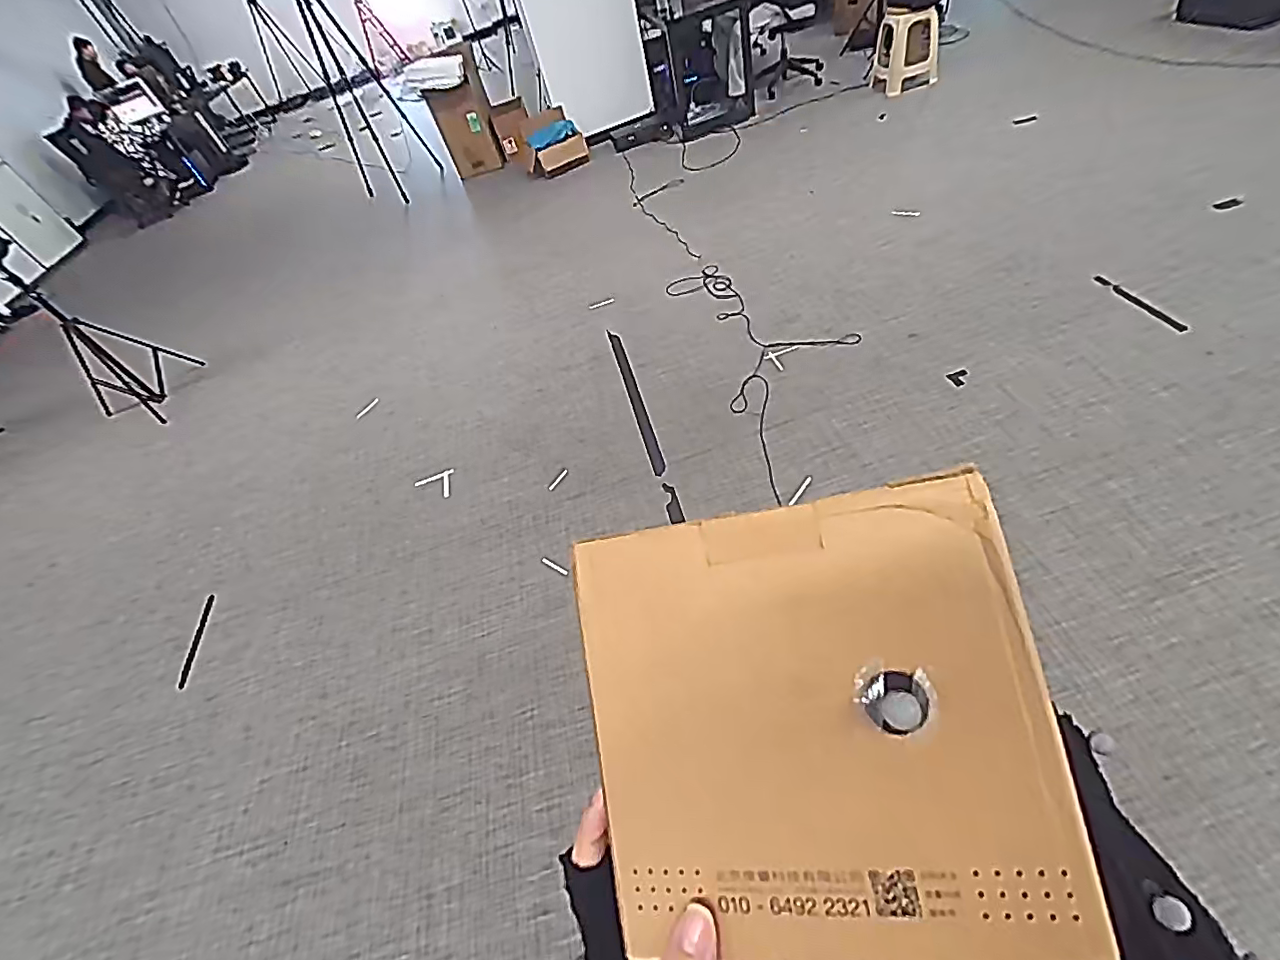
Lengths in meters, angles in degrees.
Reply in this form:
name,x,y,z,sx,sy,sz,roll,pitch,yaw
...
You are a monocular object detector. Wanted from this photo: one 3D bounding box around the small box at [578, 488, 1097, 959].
name,x,y,z,sx,sy,sz,roll,pitch,yaw
small box,0.088,0.109,0.282,0.168,0.179,0.176,-12,80,17
